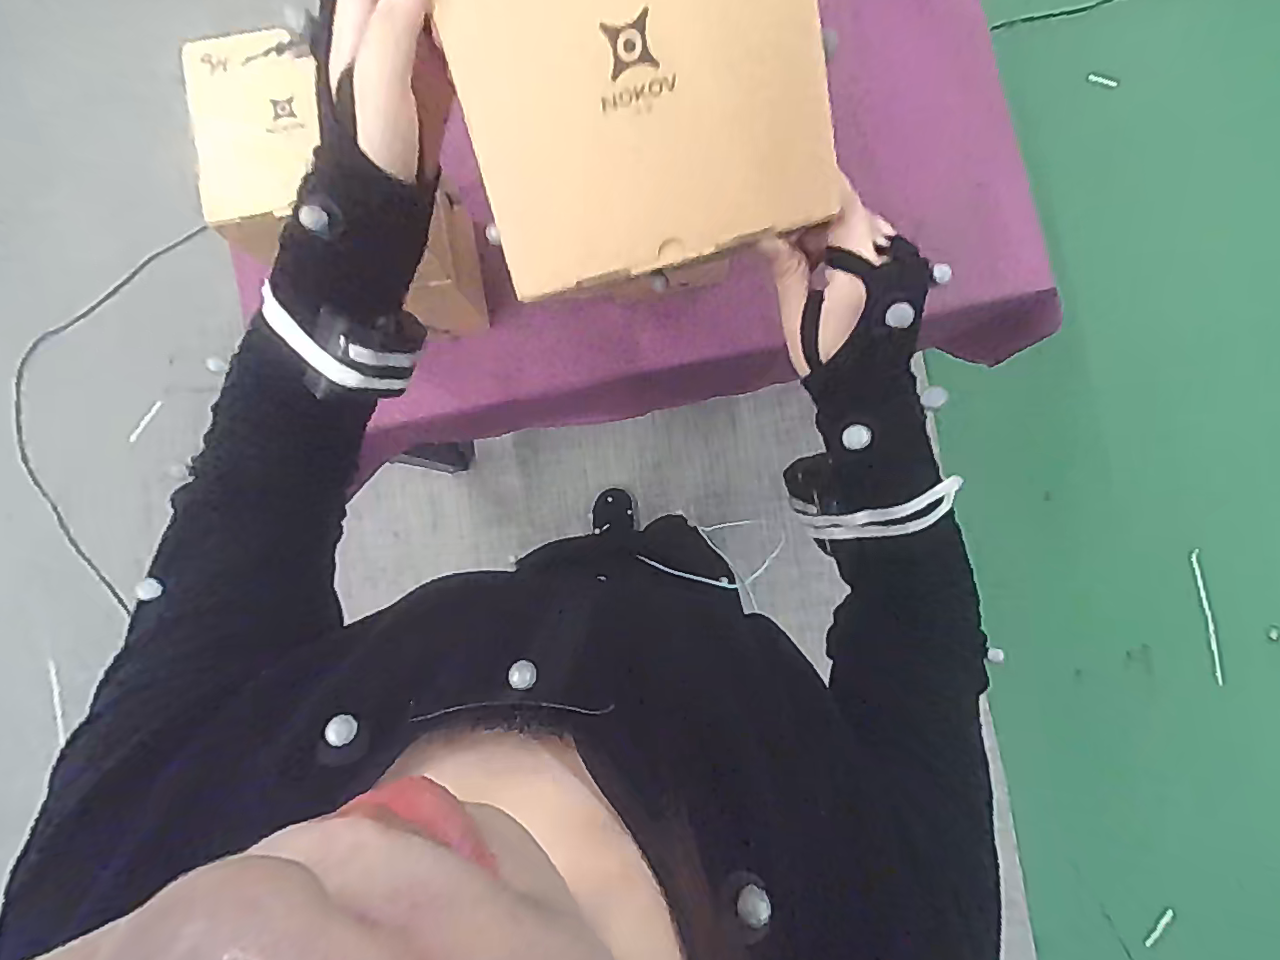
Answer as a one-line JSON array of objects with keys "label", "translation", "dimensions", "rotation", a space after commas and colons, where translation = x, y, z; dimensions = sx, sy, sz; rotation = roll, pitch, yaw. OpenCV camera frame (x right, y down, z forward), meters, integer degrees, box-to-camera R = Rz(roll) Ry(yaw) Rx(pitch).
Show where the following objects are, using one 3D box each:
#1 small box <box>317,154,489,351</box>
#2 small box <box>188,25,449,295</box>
[{"label": "small box", "translation": [-0.316, -0.295, 0.730], "dimensions": [0.168, 0.176, 0.179], "rotation": [-10, 86, -1]}, {"label": "small box", "translation": [-0.315, -0.311, 0.566], "dimensions": [0.168, 0.176, 0.179], "rotation": [-10, 86, -1]}]
